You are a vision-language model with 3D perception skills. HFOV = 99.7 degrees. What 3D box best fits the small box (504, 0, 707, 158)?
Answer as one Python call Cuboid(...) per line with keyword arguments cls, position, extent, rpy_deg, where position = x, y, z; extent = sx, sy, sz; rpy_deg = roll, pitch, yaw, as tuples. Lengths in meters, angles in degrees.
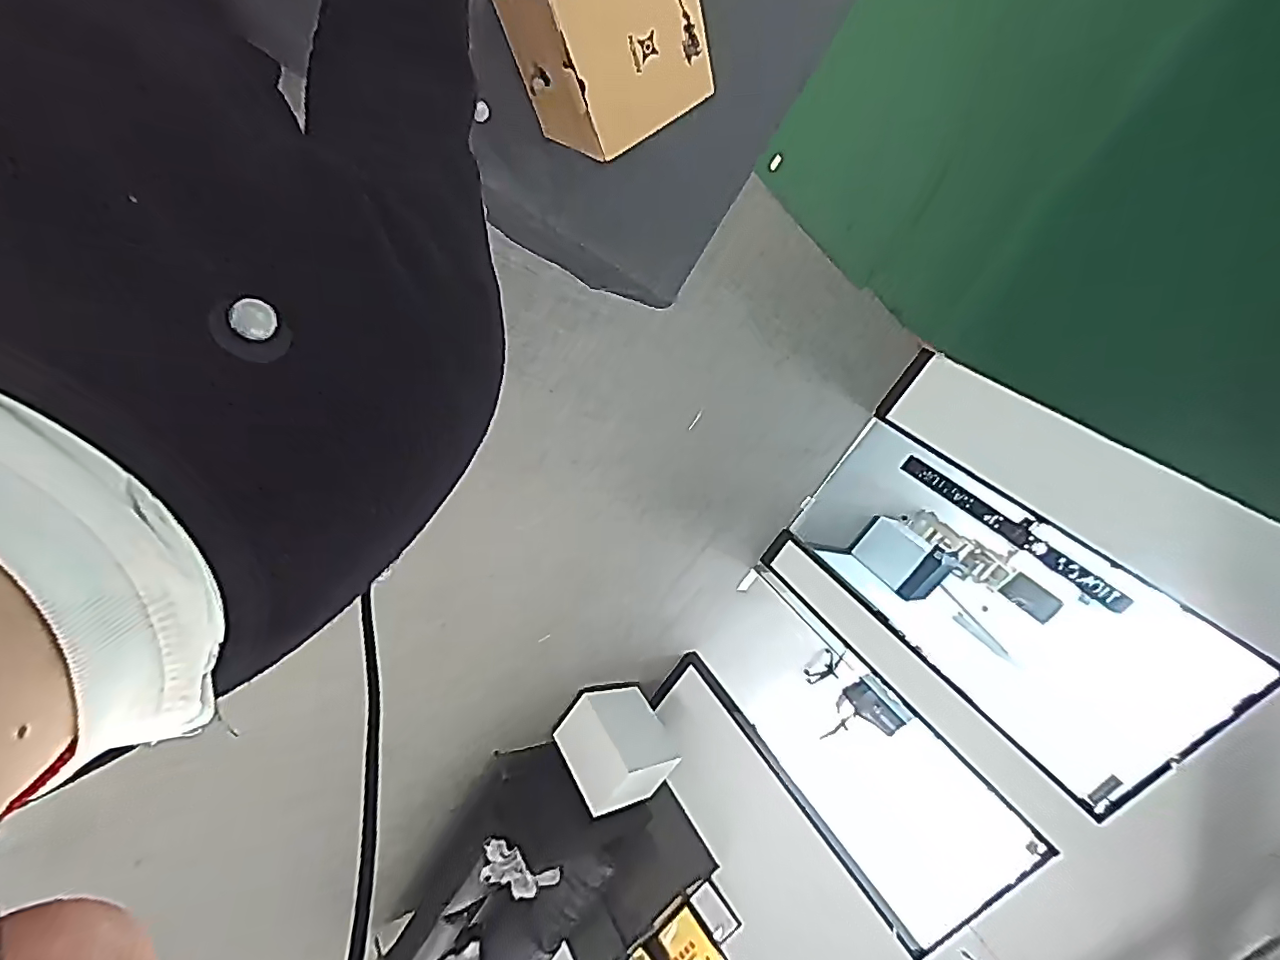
Cuboid(cls="small box", position=(-0.046, -0.533, 0.662), extent=(0.179, 0.176, 0.168), rpy_deg=(-35, 142, -8))
